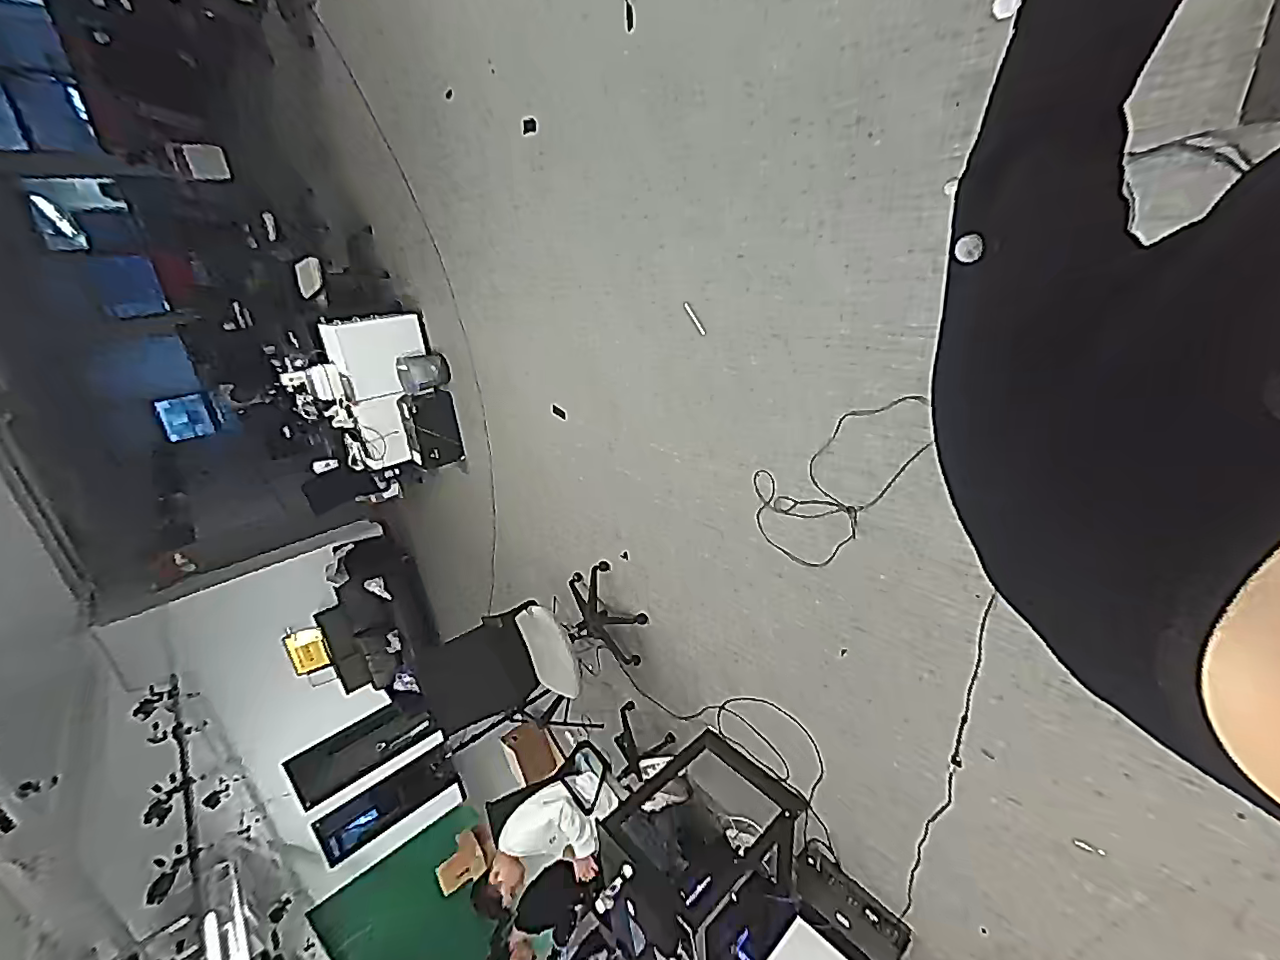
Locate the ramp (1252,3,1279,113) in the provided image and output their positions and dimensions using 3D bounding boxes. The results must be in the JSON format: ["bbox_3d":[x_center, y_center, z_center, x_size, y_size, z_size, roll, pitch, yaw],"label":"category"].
[{"bbox_3d":[1.084,-0.980,0.499,0.509,0.206,0.991,17,122,45],"label":"ramp"}]
